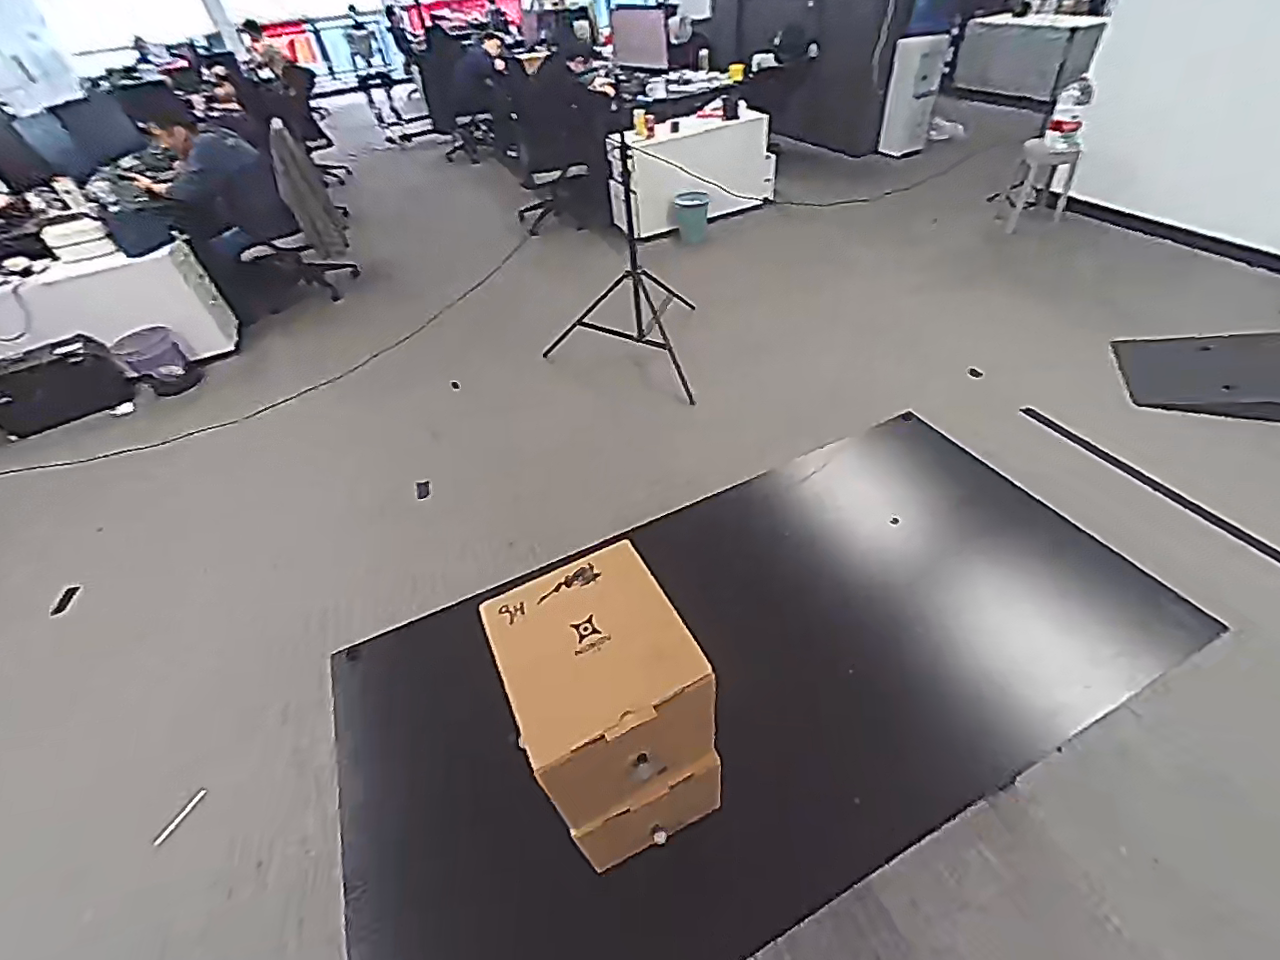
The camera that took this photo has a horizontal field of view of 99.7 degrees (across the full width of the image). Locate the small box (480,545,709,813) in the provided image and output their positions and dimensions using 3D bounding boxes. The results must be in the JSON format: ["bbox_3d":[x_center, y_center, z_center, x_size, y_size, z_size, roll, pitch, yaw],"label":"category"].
[{"bbox_3d":[-0.040,0.205,0.549,0.168,0.176,0.179,-23,47,-15],"label":"small box"}]

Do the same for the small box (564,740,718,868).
[{"bbox_3d":[-0.019,0.327,0.658,0.168,0.176,0.179,-21,46,-13],"label":"small box"}]
